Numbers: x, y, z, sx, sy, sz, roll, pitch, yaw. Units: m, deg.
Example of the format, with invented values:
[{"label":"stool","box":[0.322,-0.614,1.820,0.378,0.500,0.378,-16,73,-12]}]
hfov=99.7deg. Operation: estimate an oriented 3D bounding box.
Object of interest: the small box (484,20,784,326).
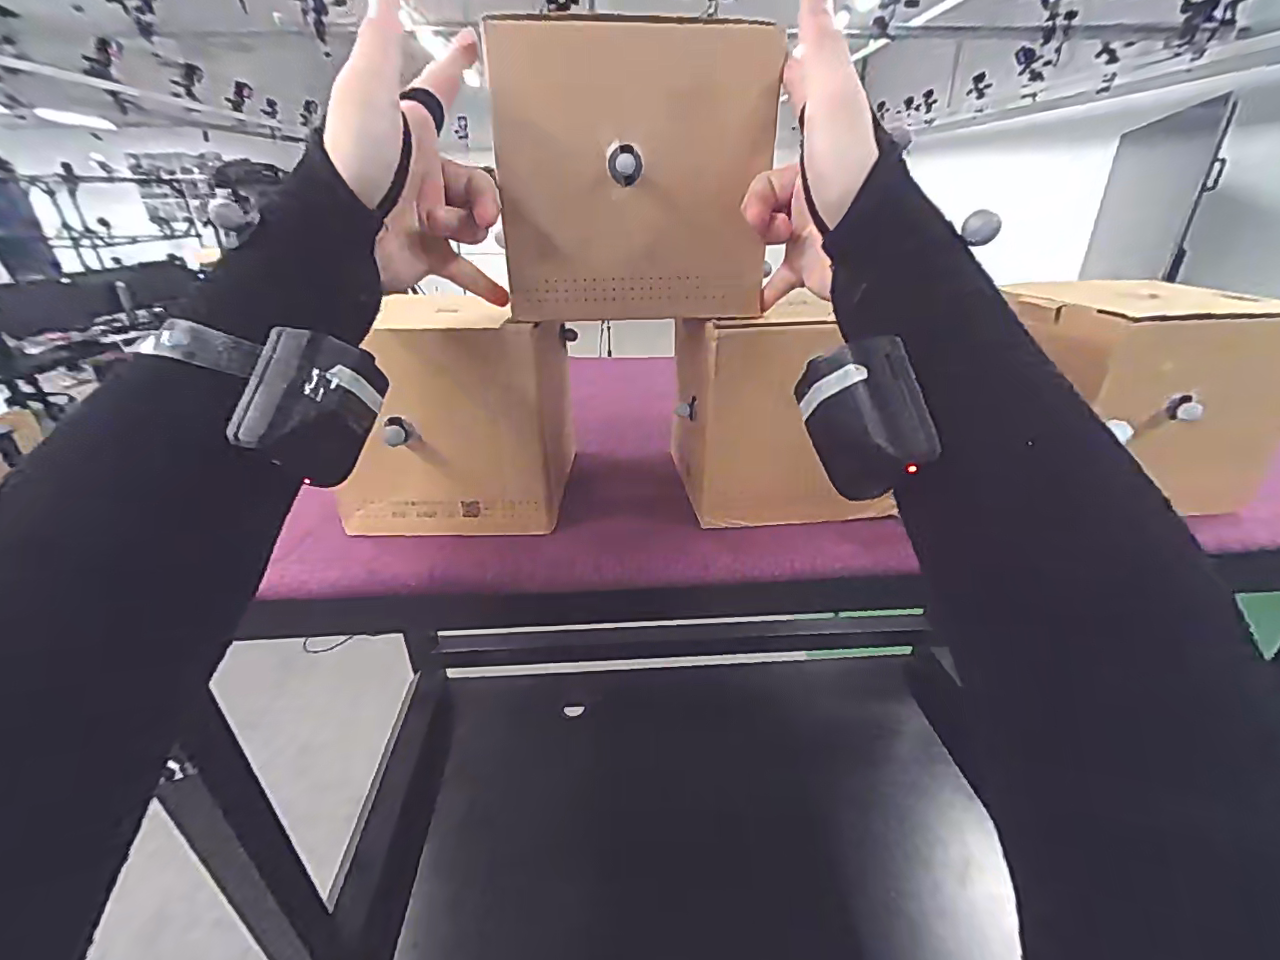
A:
[{"label":"small box","box":[-0.007,-0.219,0.414,0.179,0.176,0.168,-4,26,-4]}]

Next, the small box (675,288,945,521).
[{"label":"small box","box":[0.129,-0.072,0.483,0.179,0.176,0.168,-3,26,-5]}]

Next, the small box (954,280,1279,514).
[{"label":"small box","box":[0.416,-0.079,0.489,0.179,0.176,0.168,-3,28,-3]}]

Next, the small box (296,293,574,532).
[{"label":"small box","box":[-0.151,-0.064,0.473,0.168,0.176,0.179,0,25,0]}]
